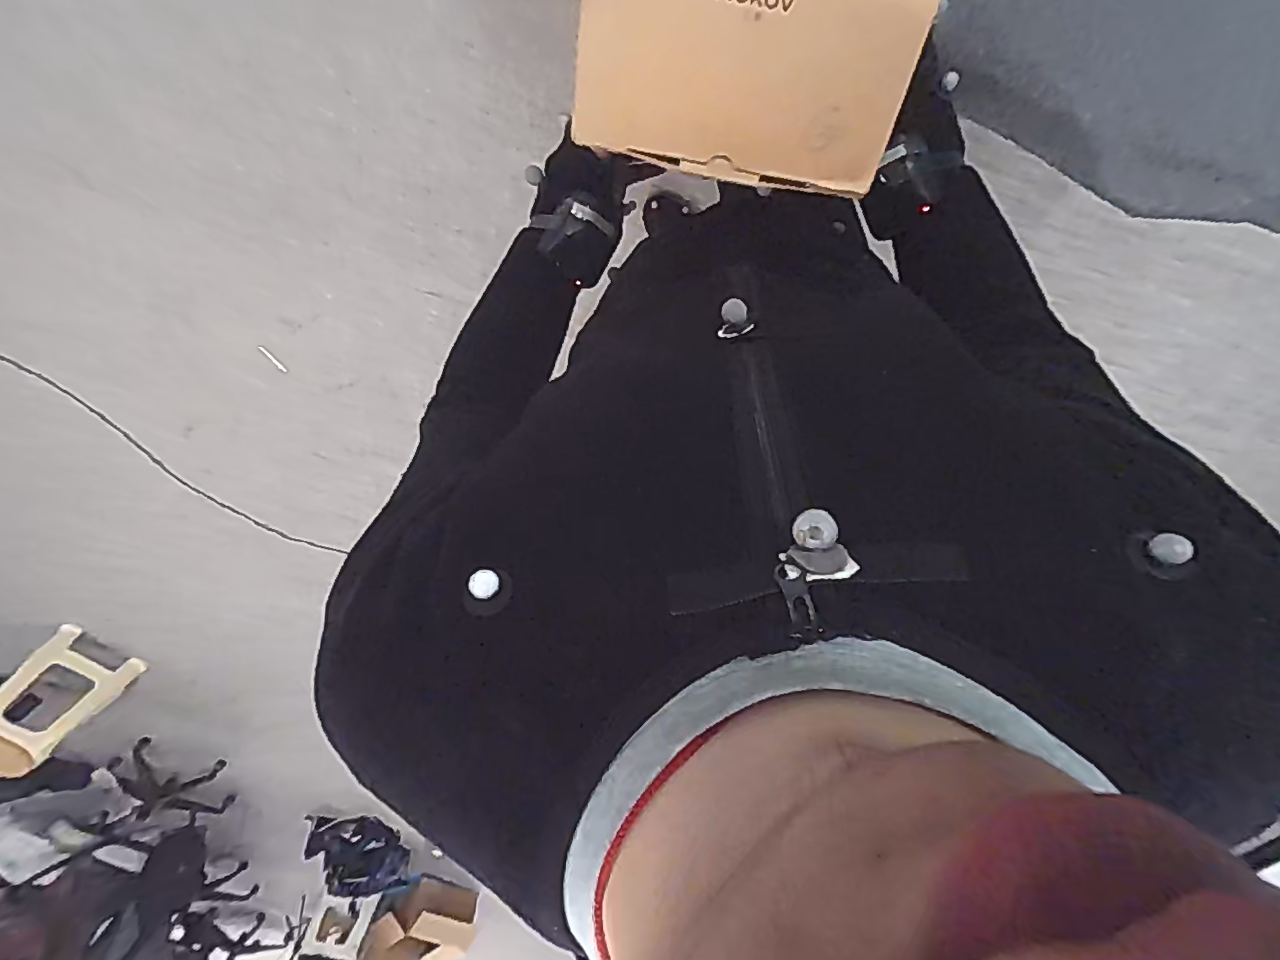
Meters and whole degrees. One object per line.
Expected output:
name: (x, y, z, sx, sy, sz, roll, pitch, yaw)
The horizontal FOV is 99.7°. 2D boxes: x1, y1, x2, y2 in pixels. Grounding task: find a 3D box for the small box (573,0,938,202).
small box: (0.064, -0.280, 0.309, 0.168, 0.176, 0.179, 10, 125, -1)
